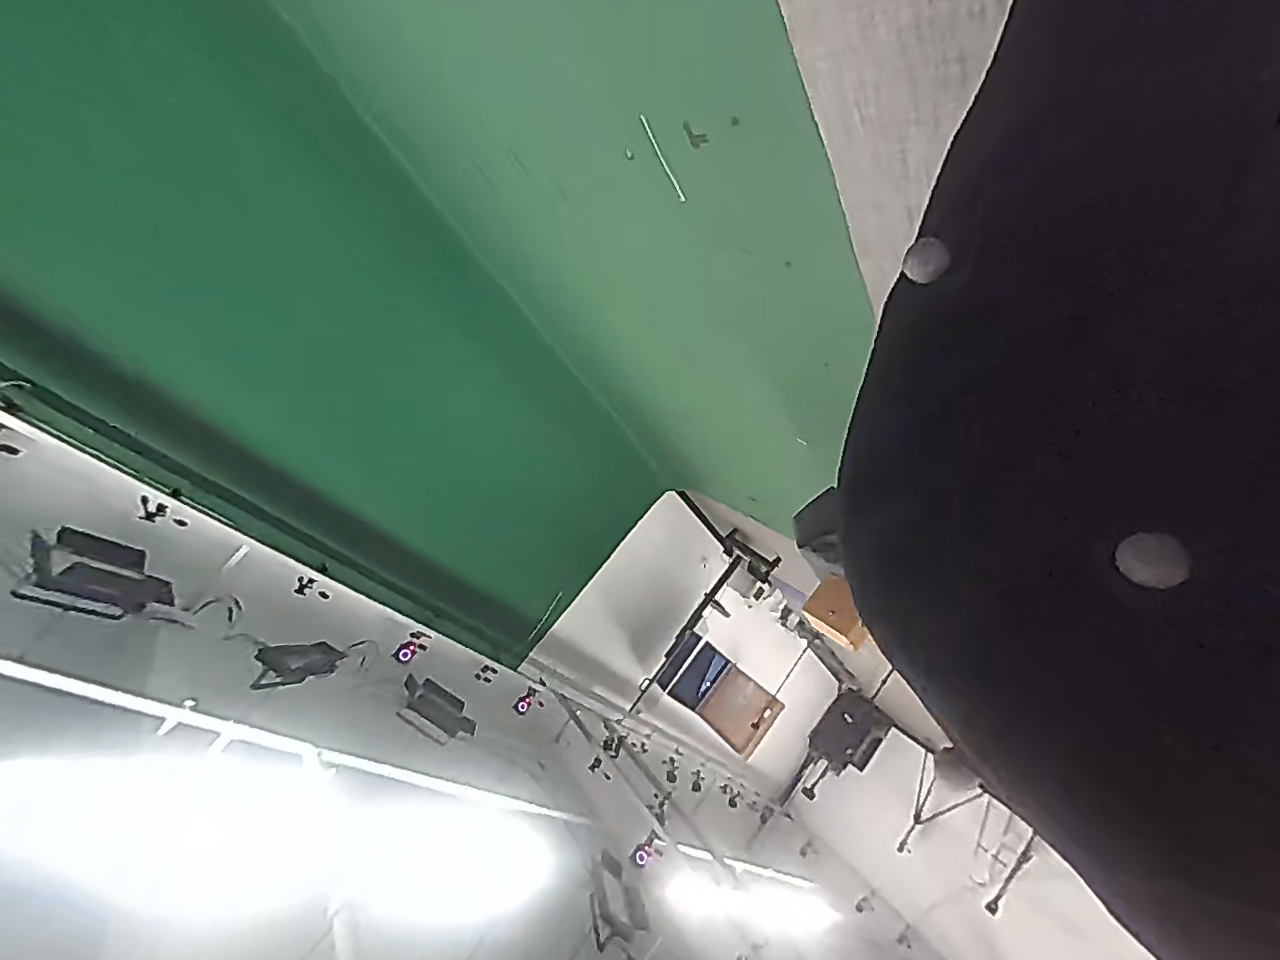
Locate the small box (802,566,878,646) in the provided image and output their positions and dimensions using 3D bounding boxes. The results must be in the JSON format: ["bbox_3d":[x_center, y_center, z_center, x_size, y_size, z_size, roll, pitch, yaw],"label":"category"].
[{"bbox_3d":[0.688,0.424,1.836,0.179,0.176,0.168,32,167,43],"label":"small box"}]
